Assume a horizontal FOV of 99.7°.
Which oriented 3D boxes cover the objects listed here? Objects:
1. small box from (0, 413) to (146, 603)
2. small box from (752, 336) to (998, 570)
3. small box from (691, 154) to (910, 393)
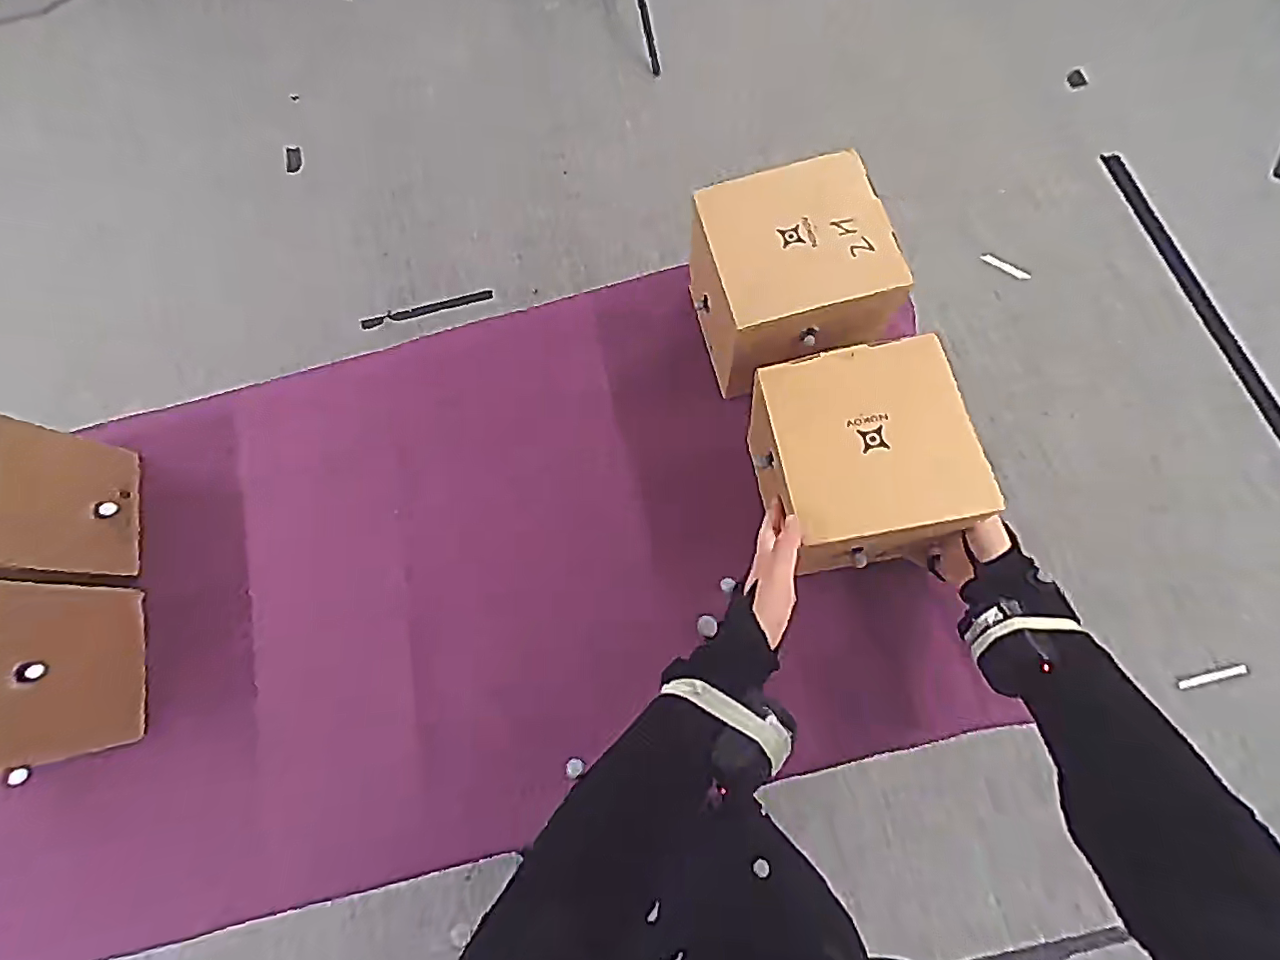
[{"bbox_3d":[-0.725,0.042,0.614,0.179,0.176,0.168,-13,77,0],"label":"small box"},{"bbox_3d":[0.213,-0.012,0.547,0.168,0.176,0.179,-11,69,5],"label":"small box"},{"bbox_3d":[0.161,-0.216,0.608,0.179,0.176,0.168,-14,76,0],"label":"small box"}]
